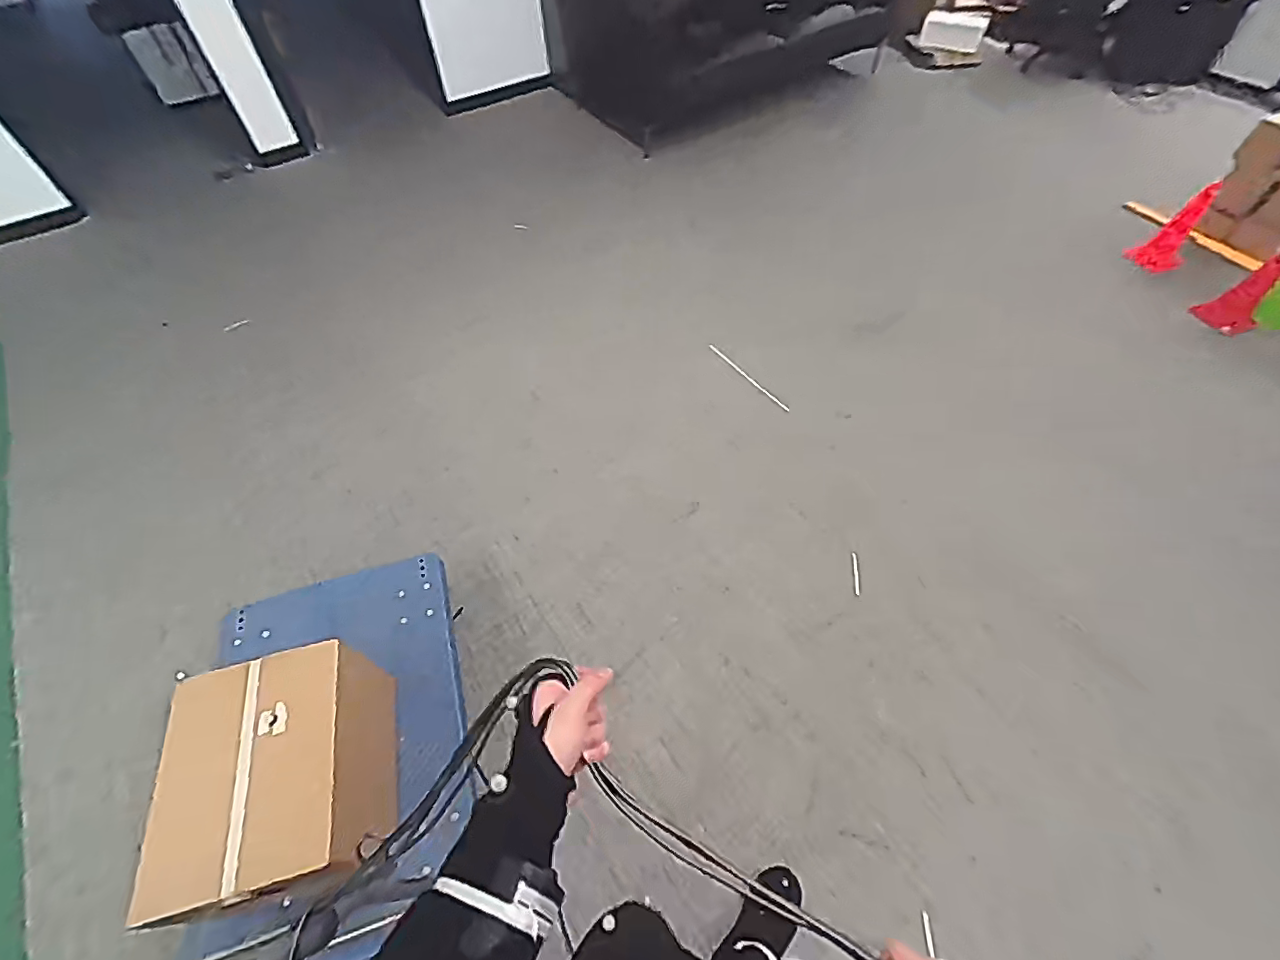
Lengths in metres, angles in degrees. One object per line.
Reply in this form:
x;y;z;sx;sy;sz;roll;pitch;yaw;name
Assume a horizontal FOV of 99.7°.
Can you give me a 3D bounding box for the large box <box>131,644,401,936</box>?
-0.703;0.613;1.096;0.320;0.320;0.408;-13;55;-9;large box
